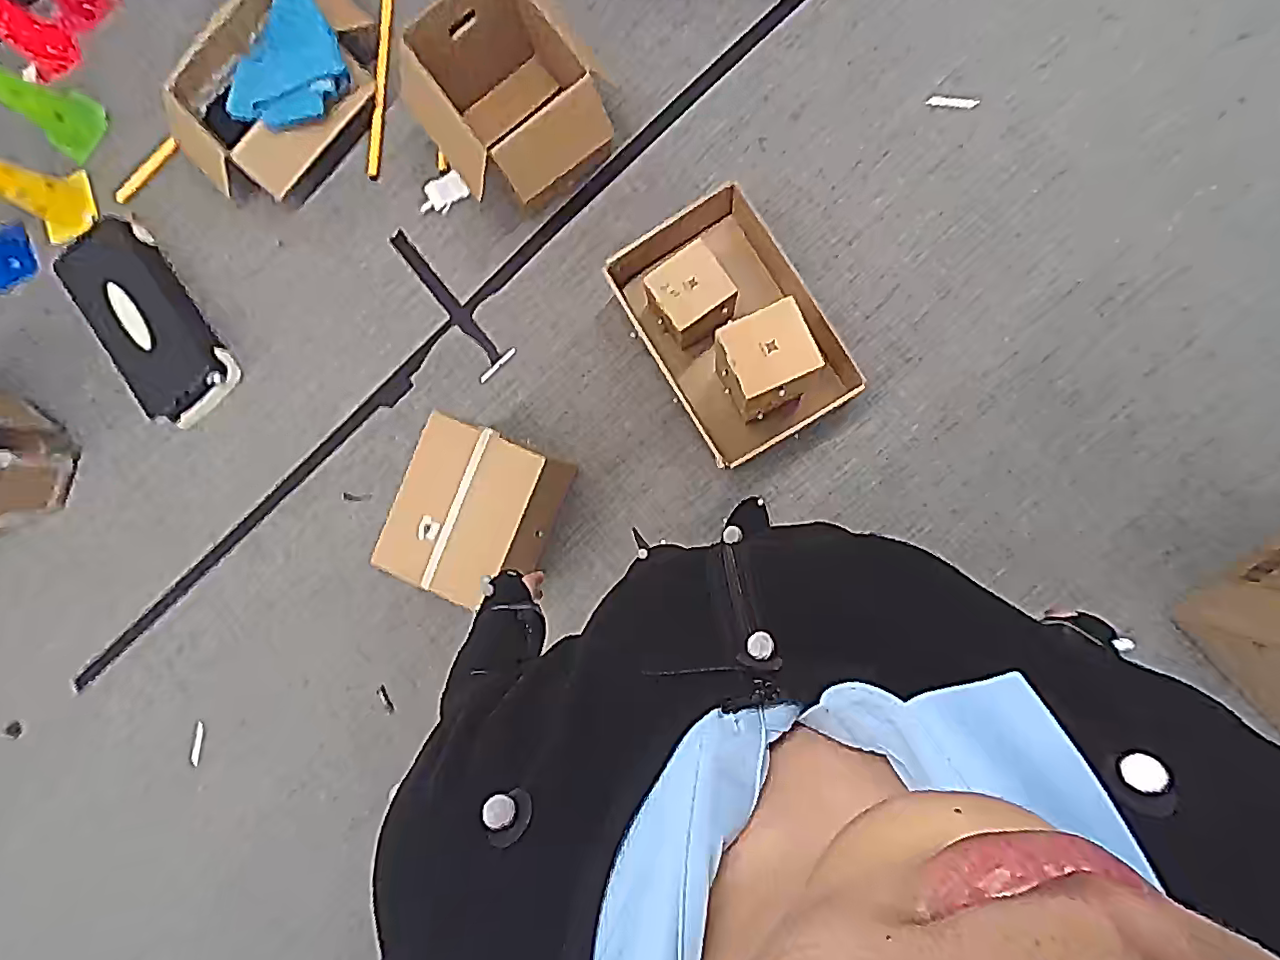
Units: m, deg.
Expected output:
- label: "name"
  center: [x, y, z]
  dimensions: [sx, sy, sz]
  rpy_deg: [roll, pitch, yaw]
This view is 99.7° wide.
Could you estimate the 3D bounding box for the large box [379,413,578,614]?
- label: "large box"
  center: [-0.401, 0.076, 1.424]
  dimensions: [0.320, 0.320, 0.408]
  rpy_deg: [23, 92, 9]
